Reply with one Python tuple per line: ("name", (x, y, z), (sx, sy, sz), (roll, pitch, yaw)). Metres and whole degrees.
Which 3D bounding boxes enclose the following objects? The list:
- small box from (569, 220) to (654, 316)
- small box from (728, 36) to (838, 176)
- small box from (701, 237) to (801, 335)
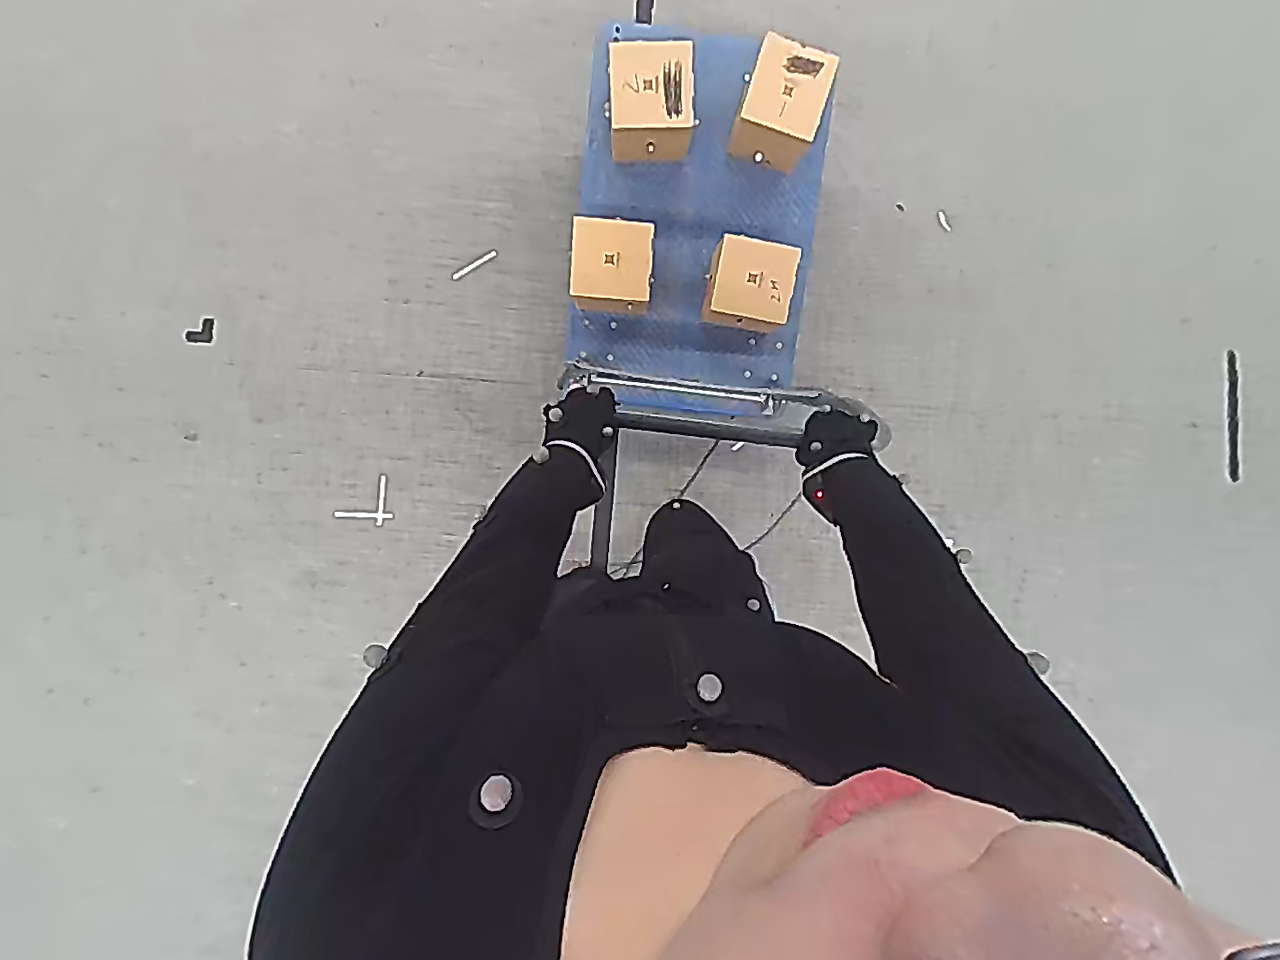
("small box", (-0.066, -0.480, 1.246), (0.179, 0.176, 0.168), (4, 98, -4))
("small box", (0.309, -0.824, 1.211), (0.168, 0.176, 0.179), (17, 98, -4))
("small box", (0.249, -0.442, 1.261), (0.179, 0.176, 0.168), (10, 98, -3))
